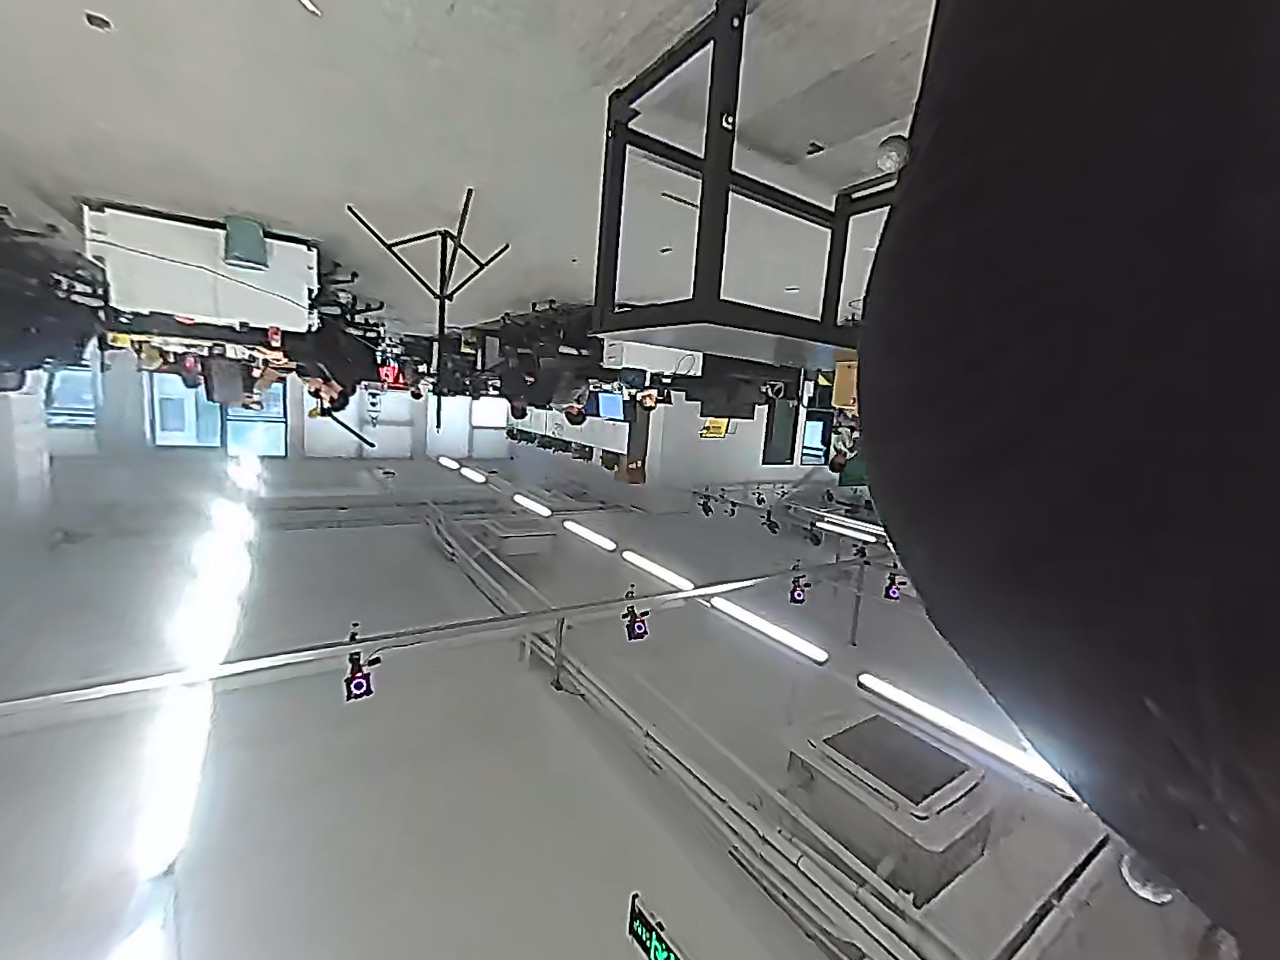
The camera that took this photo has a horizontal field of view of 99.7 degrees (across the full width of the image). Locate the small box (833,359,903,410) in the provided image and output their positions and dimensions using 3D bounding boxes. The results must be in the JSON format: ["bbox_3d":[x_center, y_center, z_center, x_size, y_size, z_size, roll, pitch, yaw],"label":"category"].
[{"bbox_3d":[0.846,-0.353,1.999,0.179,0.176,0.168,-1,-170,-32],"label":"small box"}]
